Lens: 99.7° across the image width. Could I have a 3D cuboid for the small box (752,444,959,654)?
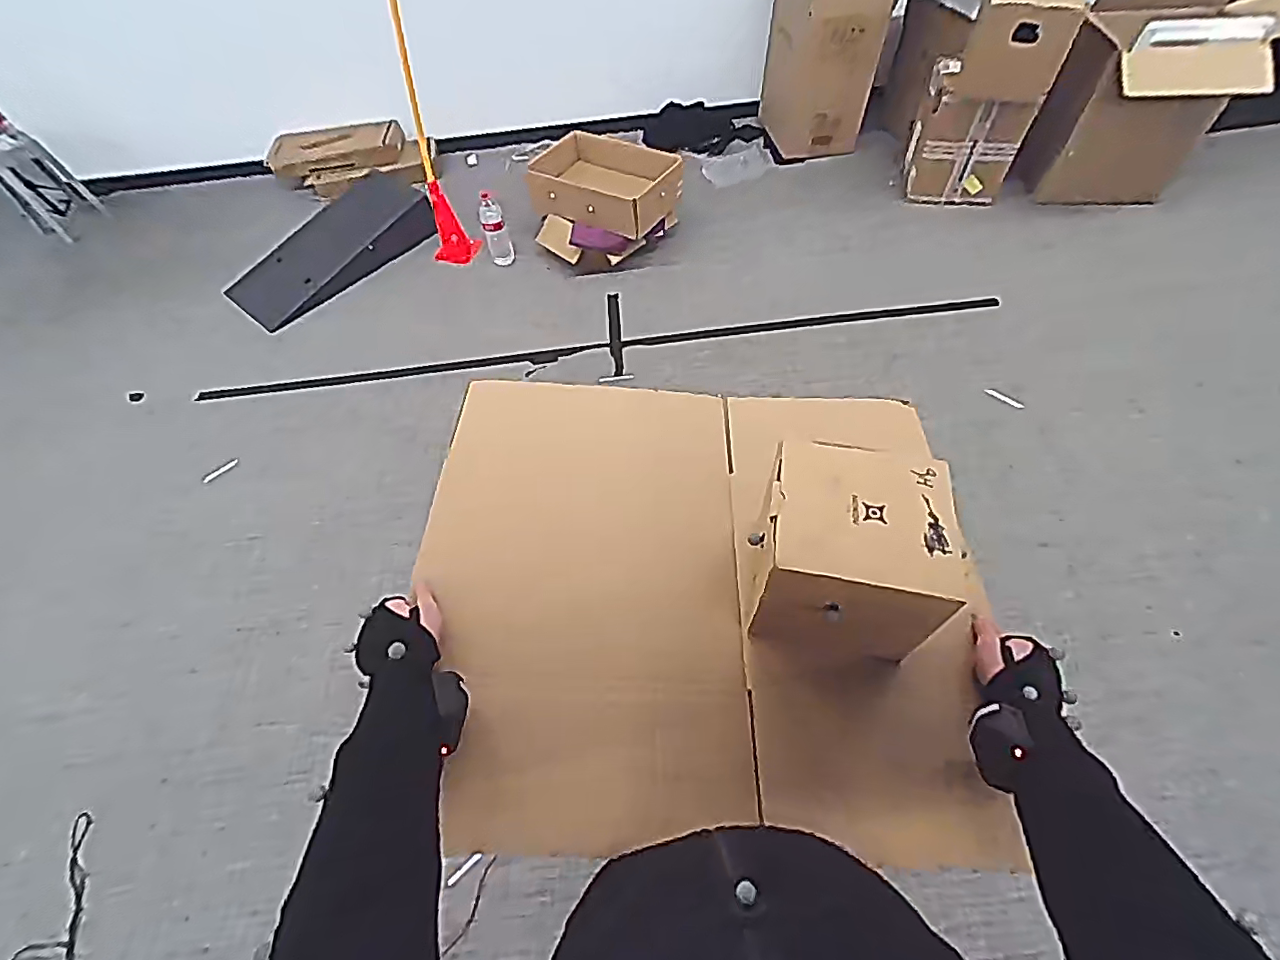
[{"bbox_3d":[0.228,0.082,0.615,0.179,0.176,0.168,8,55,9],"label":"small box"}]
